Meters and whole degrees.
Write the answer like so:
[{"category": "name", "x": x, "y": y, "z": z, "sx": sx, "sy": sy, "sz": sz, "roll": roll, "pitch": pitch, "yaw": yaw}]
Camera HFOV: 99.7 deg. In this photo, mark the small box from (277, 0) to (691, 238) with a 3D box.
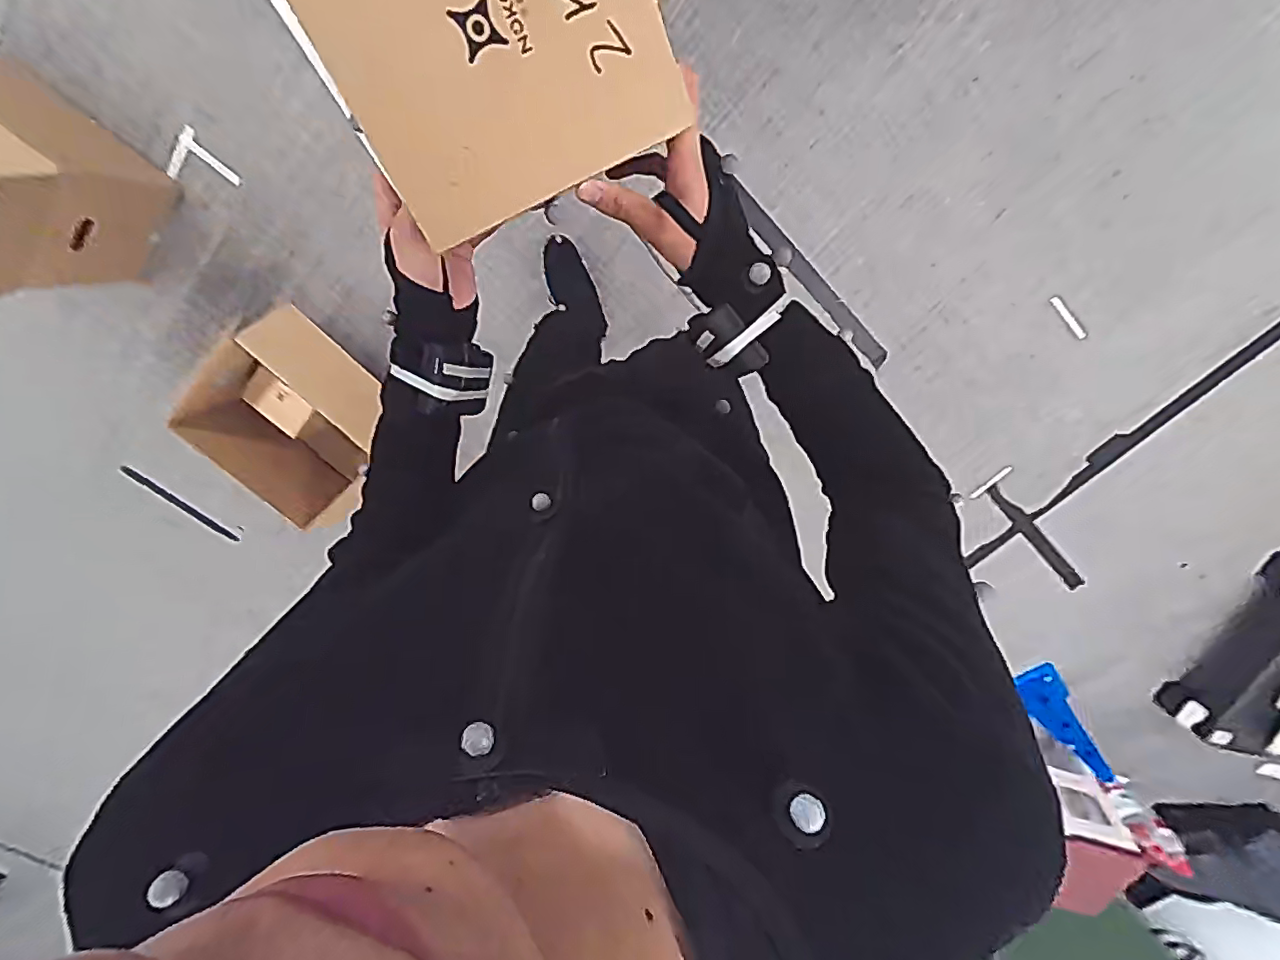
[{"category": "small box", "x": -0.094, "y": -0.269, "z": 0.336, "sx": 0.179, "sy": 0.176, "sz": 0.168, "roll": -26, "pitch": 120, "yaw": 0}]
